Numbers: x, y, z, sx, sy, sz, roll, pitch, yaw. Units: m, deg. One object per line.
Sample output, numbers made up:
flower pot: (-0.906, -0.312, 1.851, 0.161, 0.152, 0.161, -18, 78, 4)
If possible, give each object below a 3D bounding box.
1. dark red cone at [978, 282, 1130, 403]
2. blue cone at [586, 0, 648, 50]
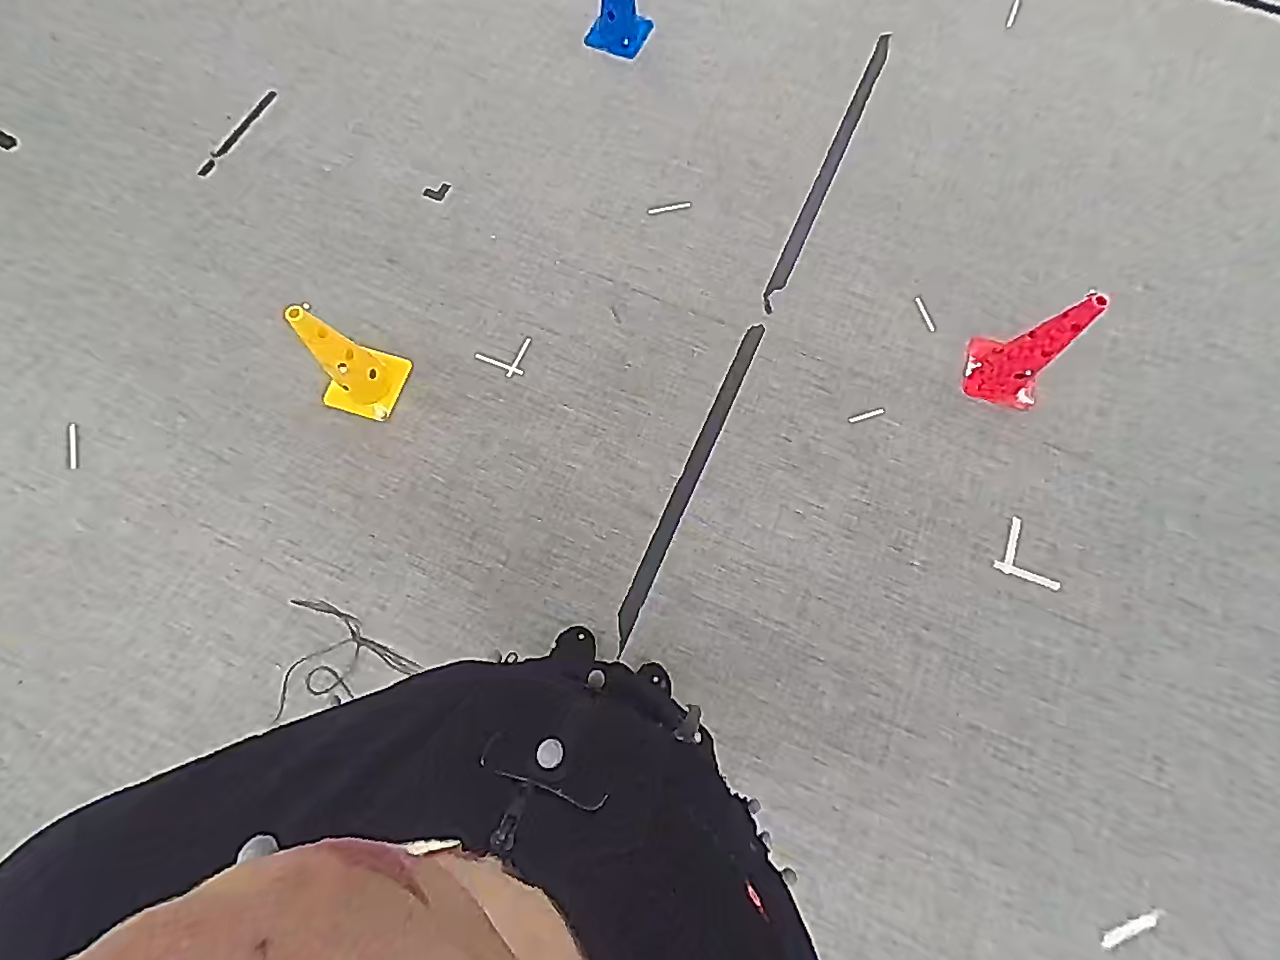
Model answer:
dark red cone: (1.059, -0.367, 1.367, 0.201, 0.394, 0.202, 16, 75, 5)
blue cone: (-0.082, -1.650, 1.756, 0.192, 0.380, 0.193, 24, 75, 7)
